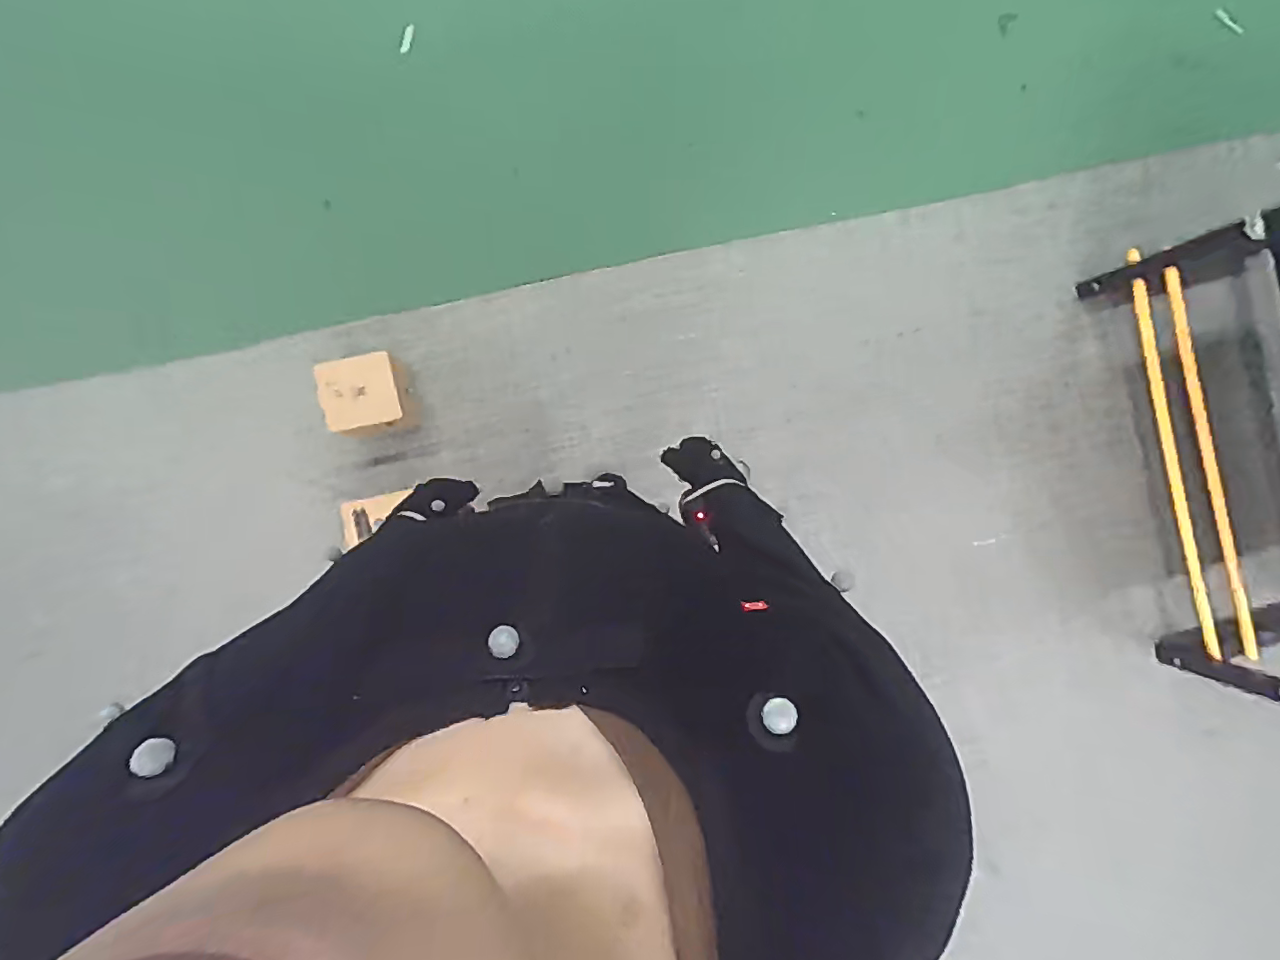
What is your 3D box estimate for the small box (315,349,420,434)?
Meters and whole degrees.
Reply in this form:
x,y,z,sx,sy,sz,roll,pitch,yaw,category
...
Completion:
x,y,z,sx,sy,sz,roll,pitch,yaw,category
-0.665,-0.214,1.346,0.179,0.176,0.168,-13,92,-5,small box
